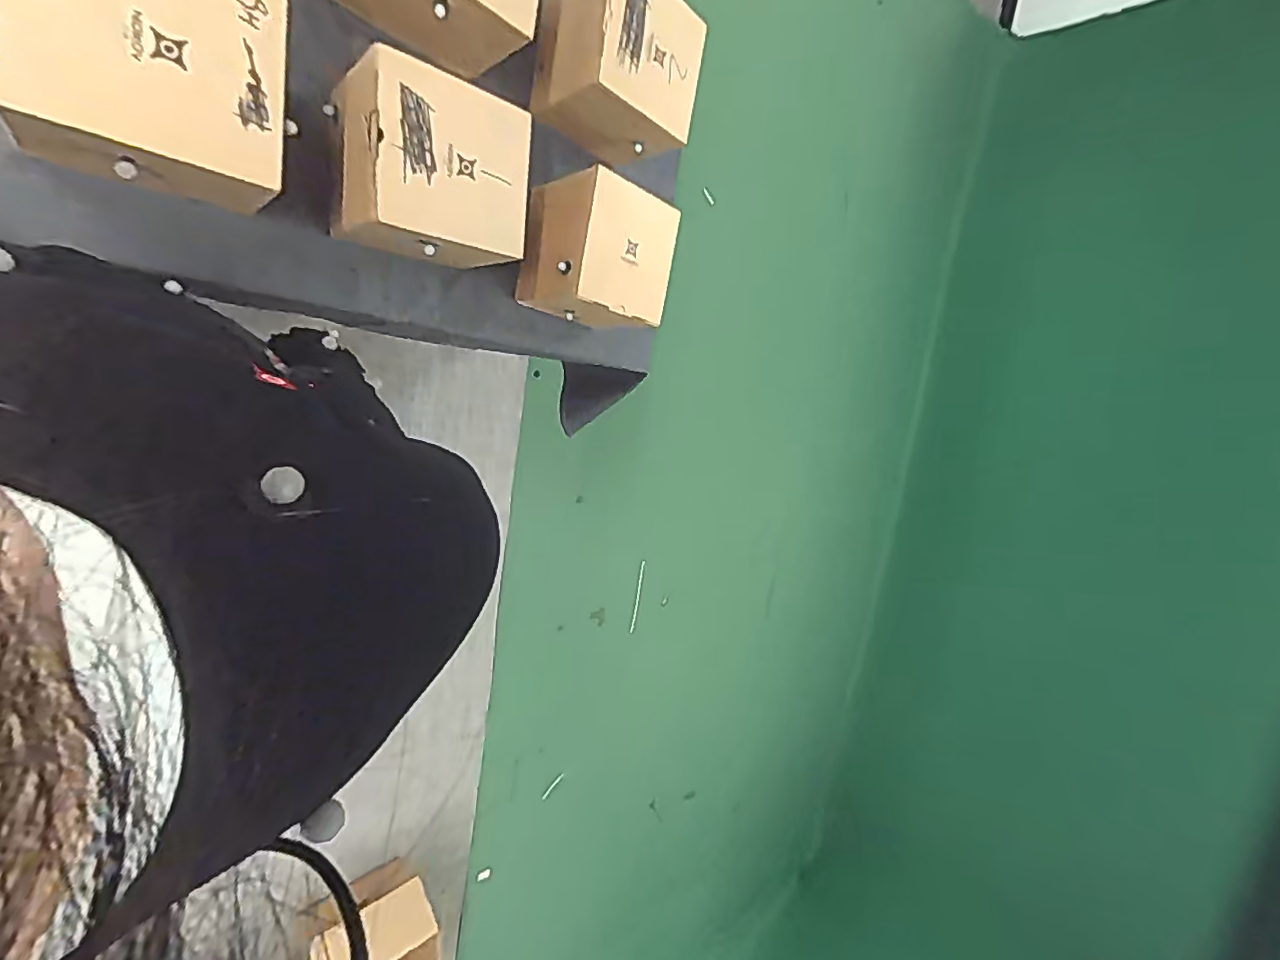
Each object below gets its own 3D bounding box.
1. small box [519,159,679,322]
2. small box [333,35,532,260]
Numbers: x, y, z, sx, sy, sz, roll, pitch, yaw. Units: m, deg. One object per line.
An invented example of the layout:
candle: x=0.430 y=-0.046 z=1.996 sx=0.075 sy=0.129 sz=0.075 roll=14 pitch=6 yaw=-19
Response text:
small box: x=-0.068 y=-0.350 z=0.830 sx=0.168 sy=0.176 sz=0.179 roll=3 pitch=100 yaw=-45
small box: x=-0.251 y=-0.367 z=0.643 sx=0.179 sy=0.176 sz=0.168 roll=-5 pitch=106 yaw=-44
